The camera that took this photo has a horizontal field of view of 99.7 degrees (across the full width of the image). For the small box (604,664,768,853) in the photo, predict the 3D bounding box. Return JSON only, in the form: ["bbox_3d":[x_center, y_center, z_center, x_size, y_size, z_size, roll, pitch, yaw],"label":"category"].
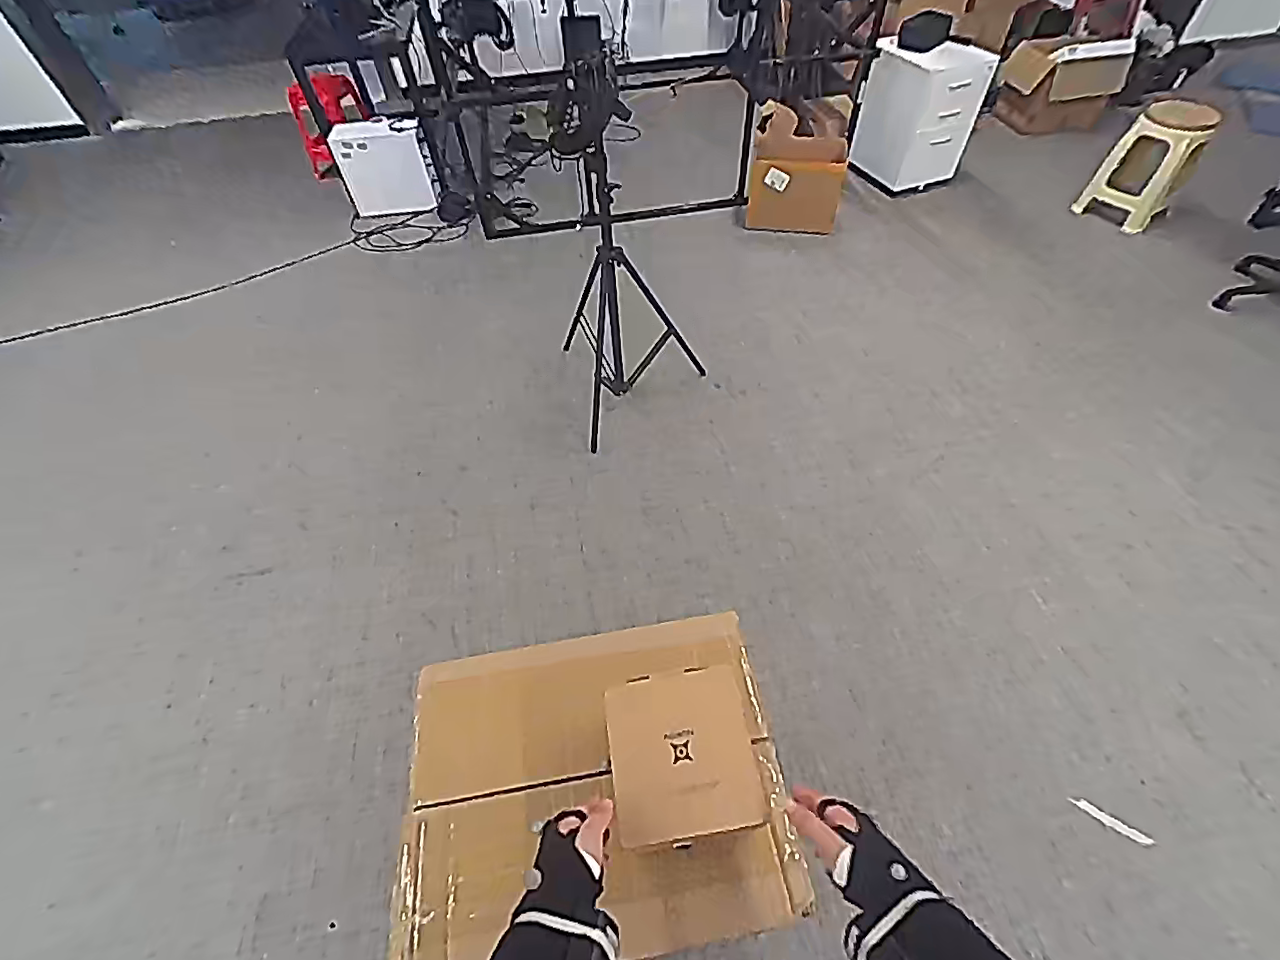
[{"bbox_3d":[0.051,0.360,0.696,0.168,0.176,0.179,-10,54,-3],"label":"small box"}]
